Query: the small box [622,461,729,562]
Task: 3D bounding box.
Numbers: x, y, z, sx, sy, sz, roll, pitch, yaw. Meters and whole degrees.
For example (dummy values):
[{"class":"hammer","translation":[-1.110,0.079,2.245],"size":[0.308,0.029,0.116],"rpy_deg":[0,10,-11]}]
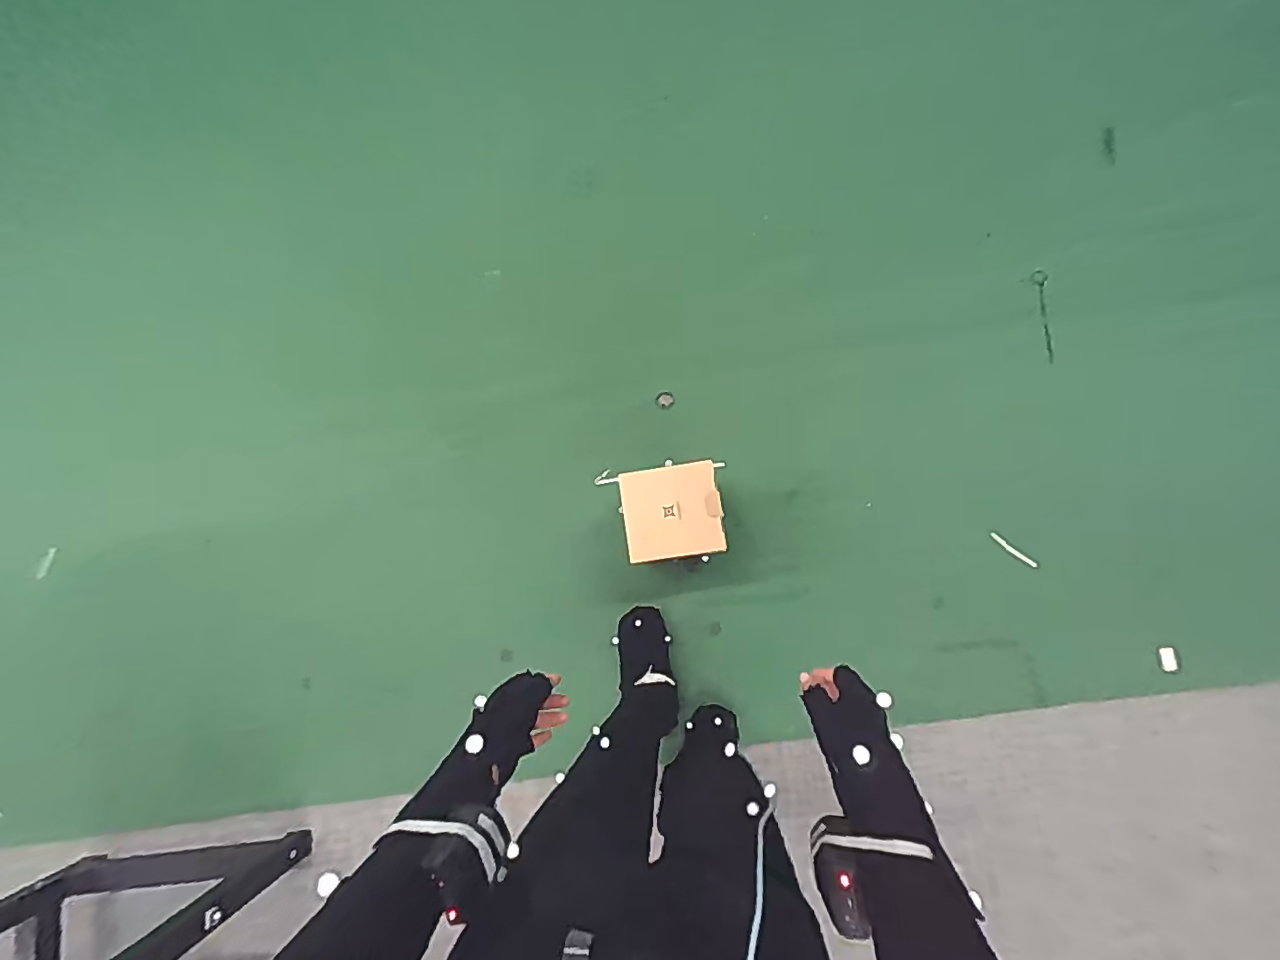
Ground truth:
[{"class":"small box","translation":[0.070,0.068,1.048],"size":[0.179,0.176,0.168],"rpy_deg":[-9,82,3]}]
